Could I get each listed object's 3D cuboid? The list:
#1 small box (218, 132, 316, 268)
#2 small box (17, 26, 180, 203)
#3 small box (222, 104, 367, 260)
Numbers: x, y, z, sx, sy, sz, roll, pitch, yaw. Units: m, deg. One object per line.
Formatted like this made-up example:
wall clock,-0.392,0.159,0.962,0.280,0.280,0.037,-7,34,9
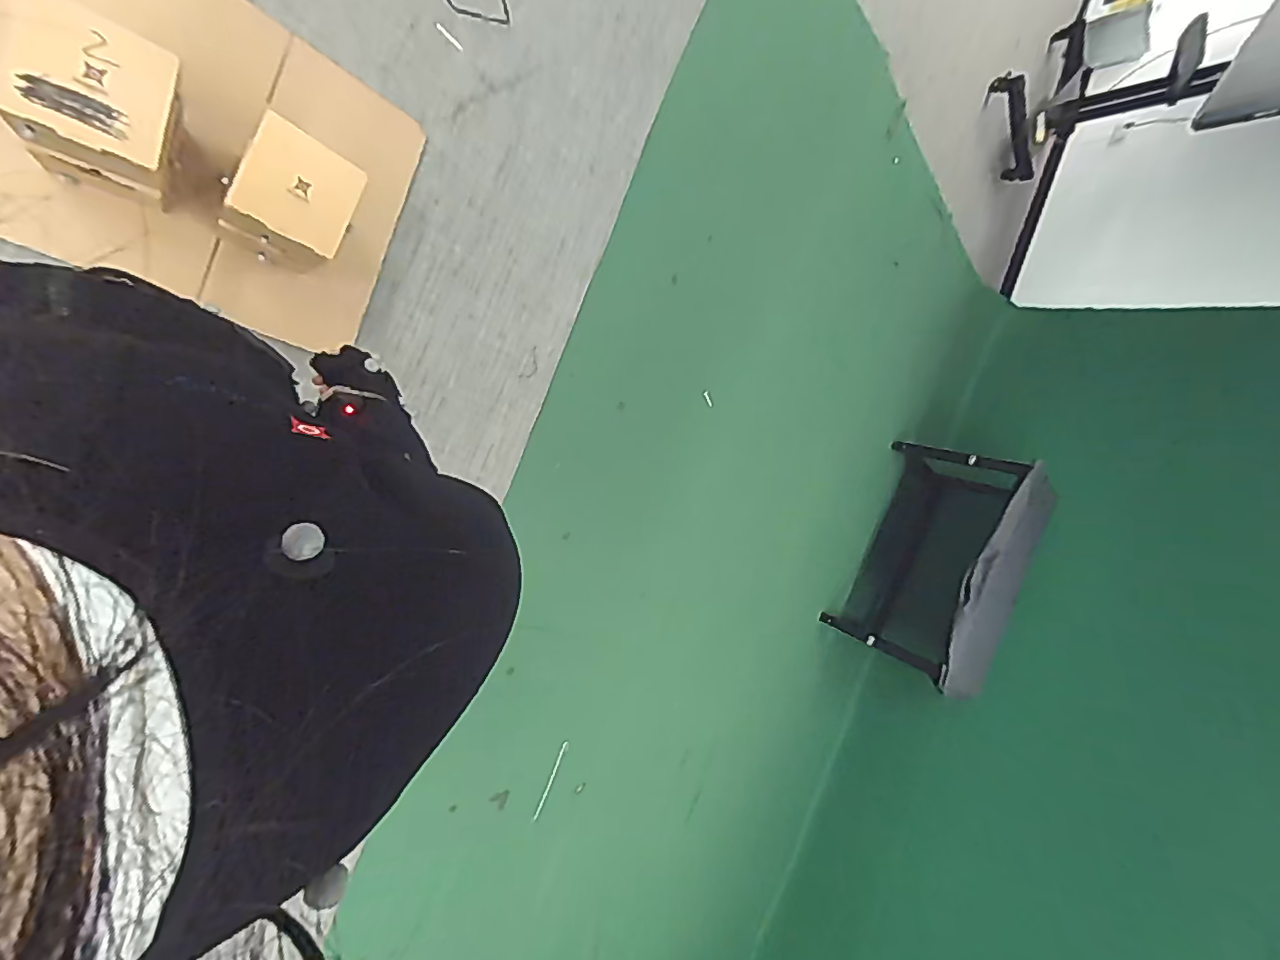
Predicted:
small box,-0.738,-0.555,1.101,0.168,0.176,0.179,20,90,-41
small box,-0.914,-0.606,0.930,0.168,0.176,0.179,14,94,-42
small box,-0.632,-0.525,0.982,0.168,0.176,0.179,23,88,-42
